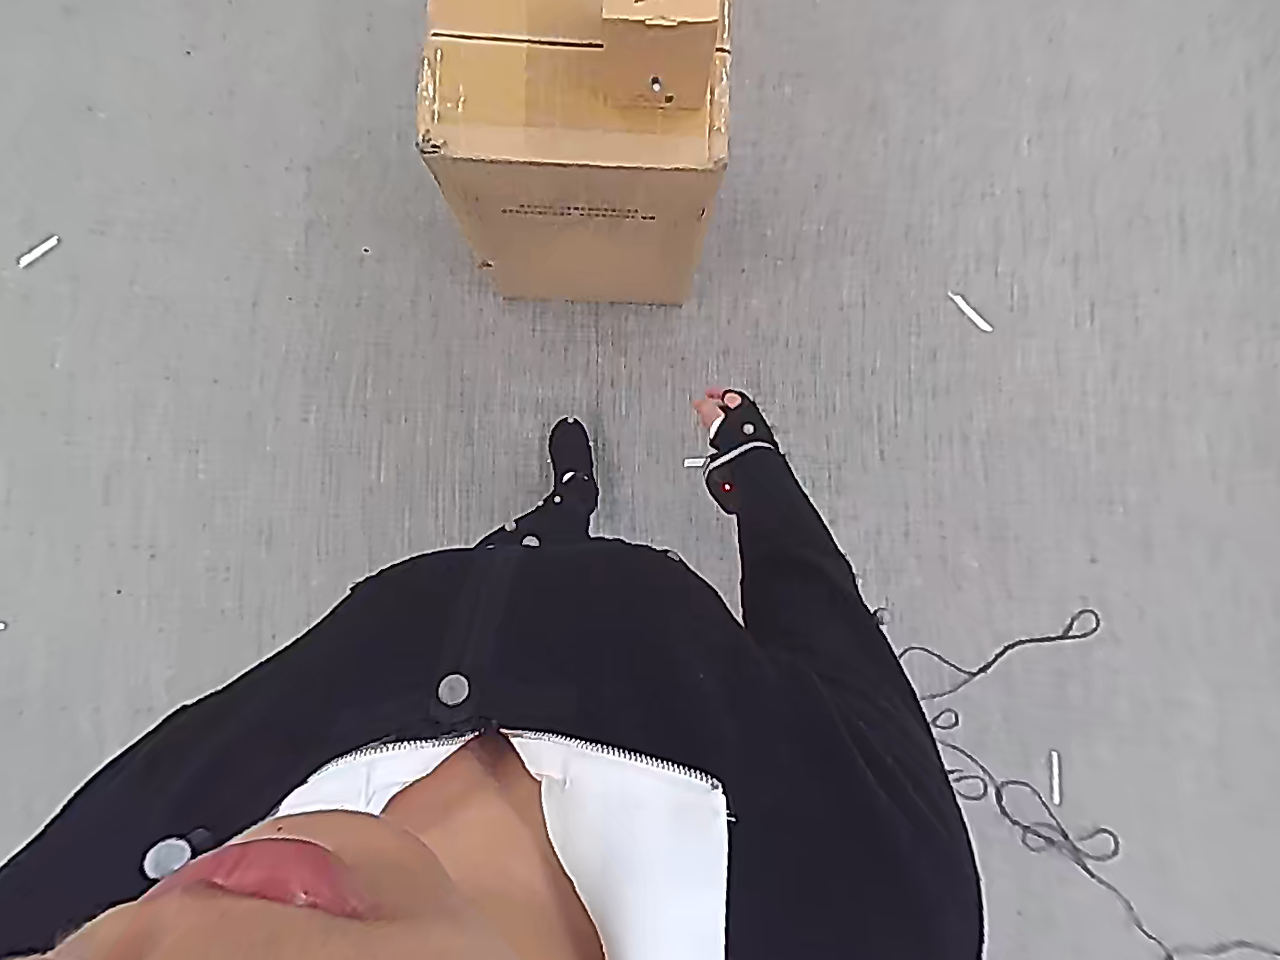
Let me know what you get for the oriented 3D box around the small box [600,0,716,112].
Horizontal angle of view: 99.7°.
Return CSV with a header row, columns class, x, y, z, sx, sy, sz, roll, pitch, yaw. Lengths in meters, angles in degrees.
class,x,y,z,sx,sy,sz,roll,pitch,yaw
small box,0.025,-0.717,0.839,0.168,0.176,0.179,1,88,-1
